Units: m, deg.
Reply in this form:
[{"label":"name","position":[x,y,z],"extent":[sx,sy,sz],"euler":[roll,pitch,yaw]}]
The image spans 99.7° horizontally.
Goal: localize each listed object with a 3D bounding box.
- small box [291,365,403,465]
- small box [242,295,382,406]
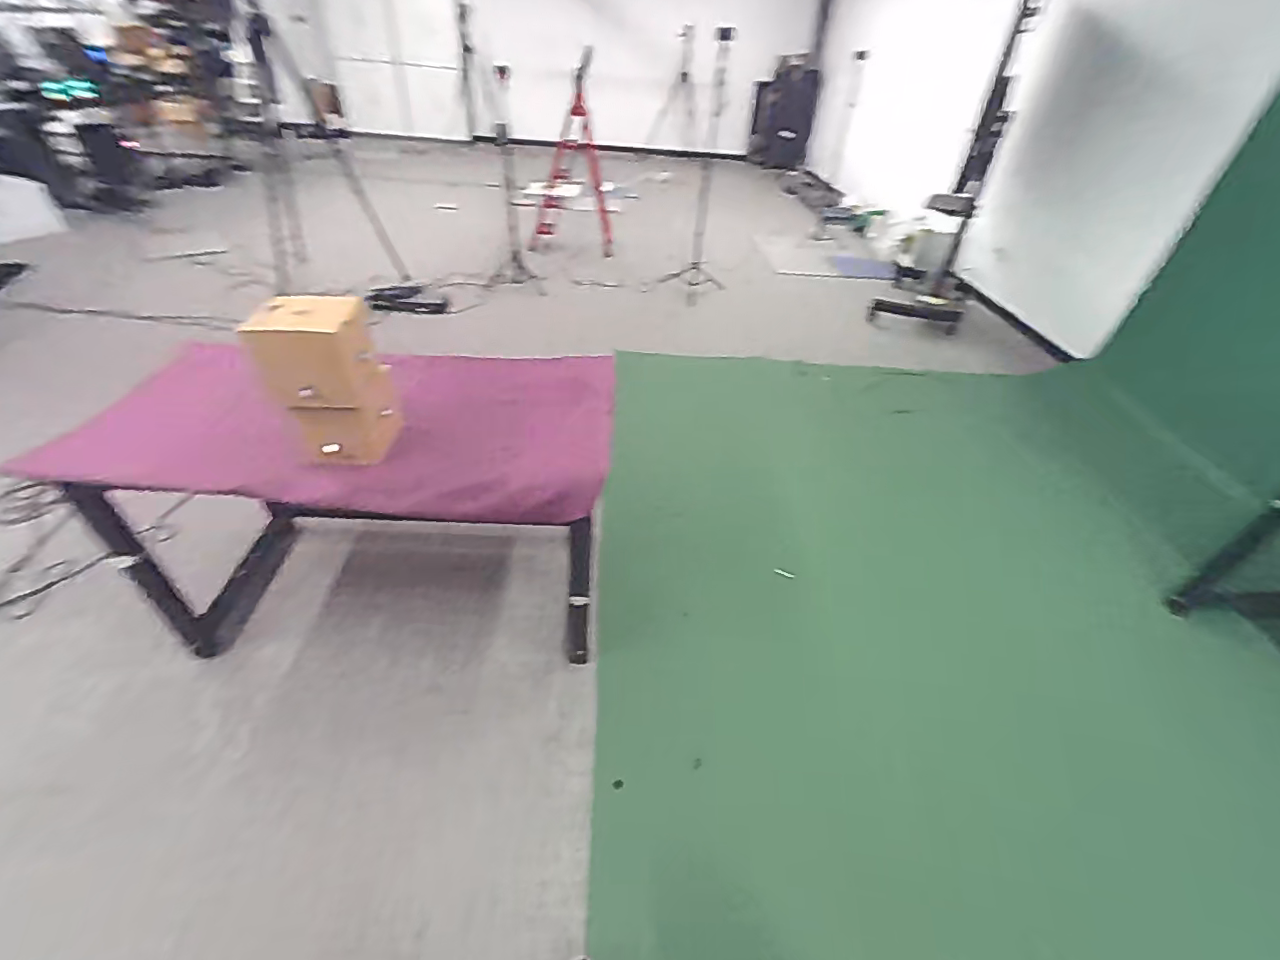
[{"label":"small box","position":[-0.662,-0.155,1.240],"extent":[0.168,0.176,0.179],"euler":[3,39,-2]},{"label":"small box","position":[-0.658,-0.264,1.115],"extent":[0.179,0.176,0.168],"euler":[1,40,-5]}]
